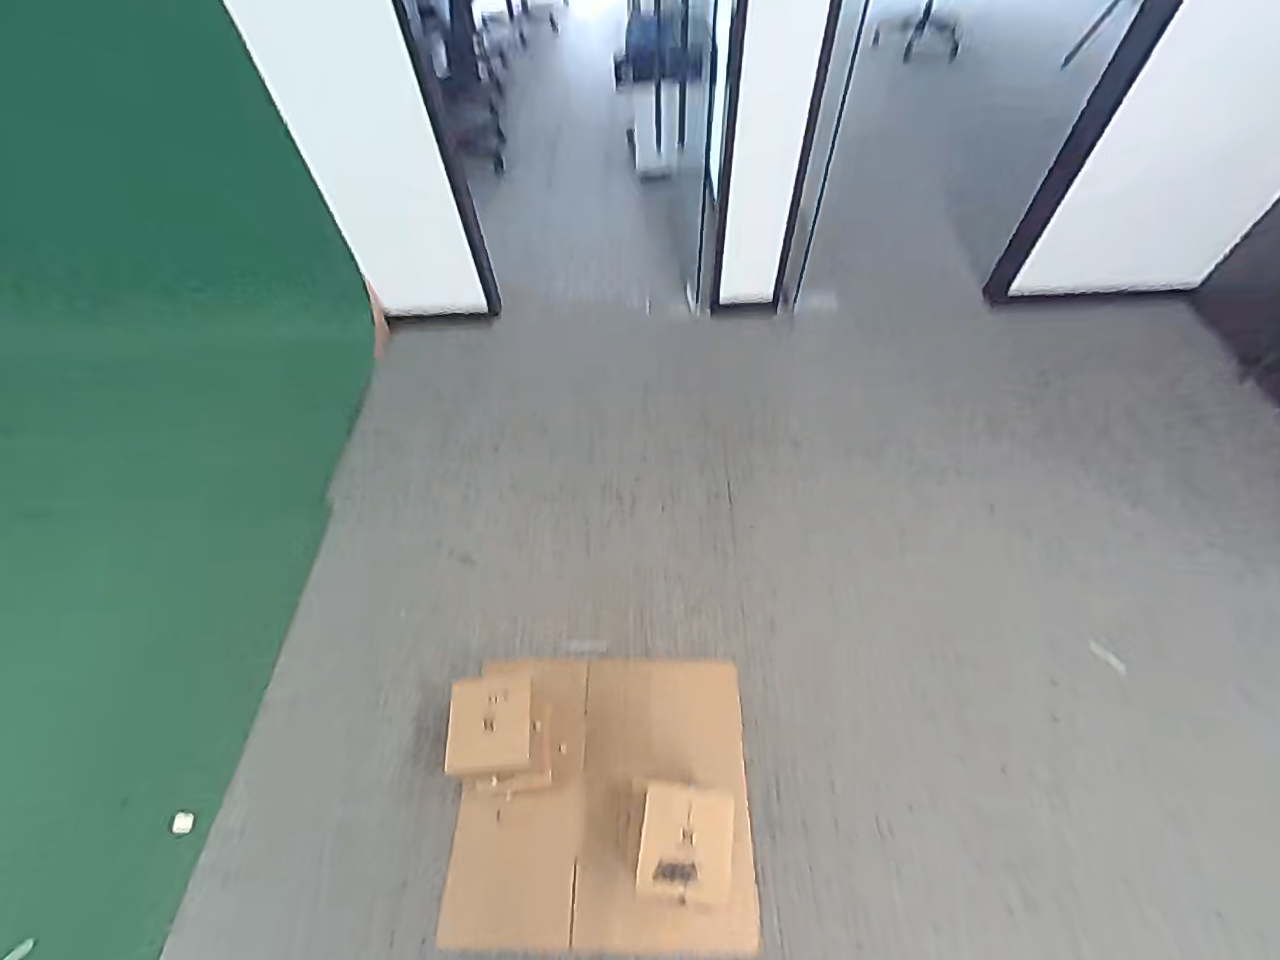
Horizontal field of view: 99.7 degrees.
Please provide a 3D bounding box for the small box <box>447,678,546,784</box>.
[{"bbox_3d":[-0.297,0.542,1.157,0.168,0.176,0.179,-5,53,-2],"label":"small box"}]

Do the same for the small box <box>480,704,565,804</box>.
[{"bbox_3d":[-0.271,0.651,1.281,0.168,0.176,0.179,-6,54,-2],"label":"small box"}]

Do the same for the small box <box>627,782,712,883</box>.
[{"bbox_3d":[0.068,0.773,1.175,0.168,0.176,0.179,3,54,5],"label":"small box"}]

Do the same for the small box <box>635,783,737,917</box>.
[{"bbox_3d":[0.090,0.699,1.025,0.168,0.176,0.179,7,53,7],"label":"small box"}]
